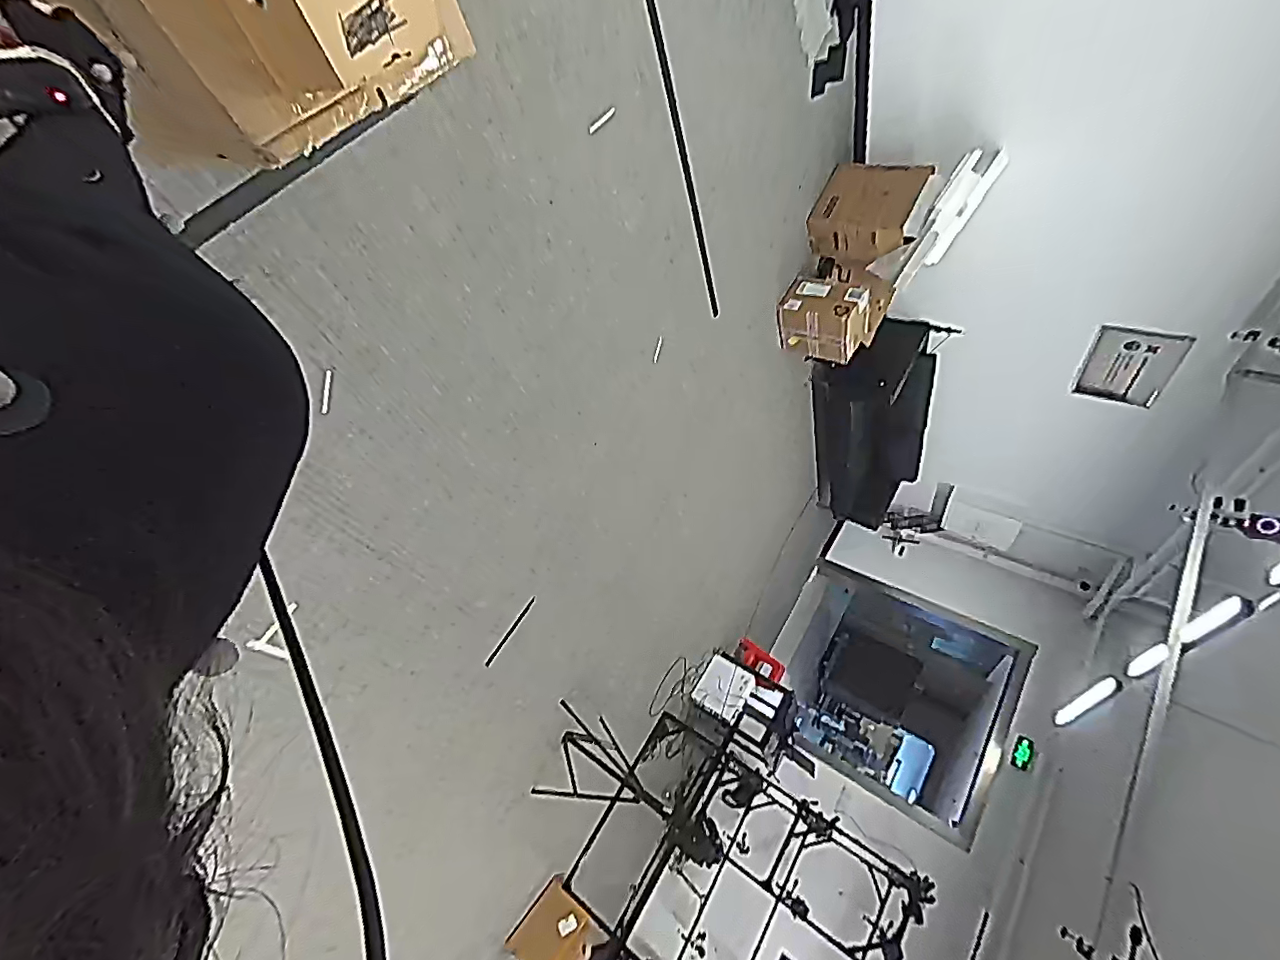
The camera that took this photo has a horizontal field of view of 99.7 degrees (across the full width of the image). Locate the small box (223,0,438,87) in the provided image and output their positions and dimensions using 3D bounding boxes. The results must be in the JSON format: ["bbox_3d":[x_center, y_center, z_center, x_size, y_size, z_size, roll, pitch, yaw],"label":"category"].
[{"bbox_3d":[-0.385,-0.595,0.639,0.168,0.176,0.179,-51,144,-25],"label":"small box"}]
